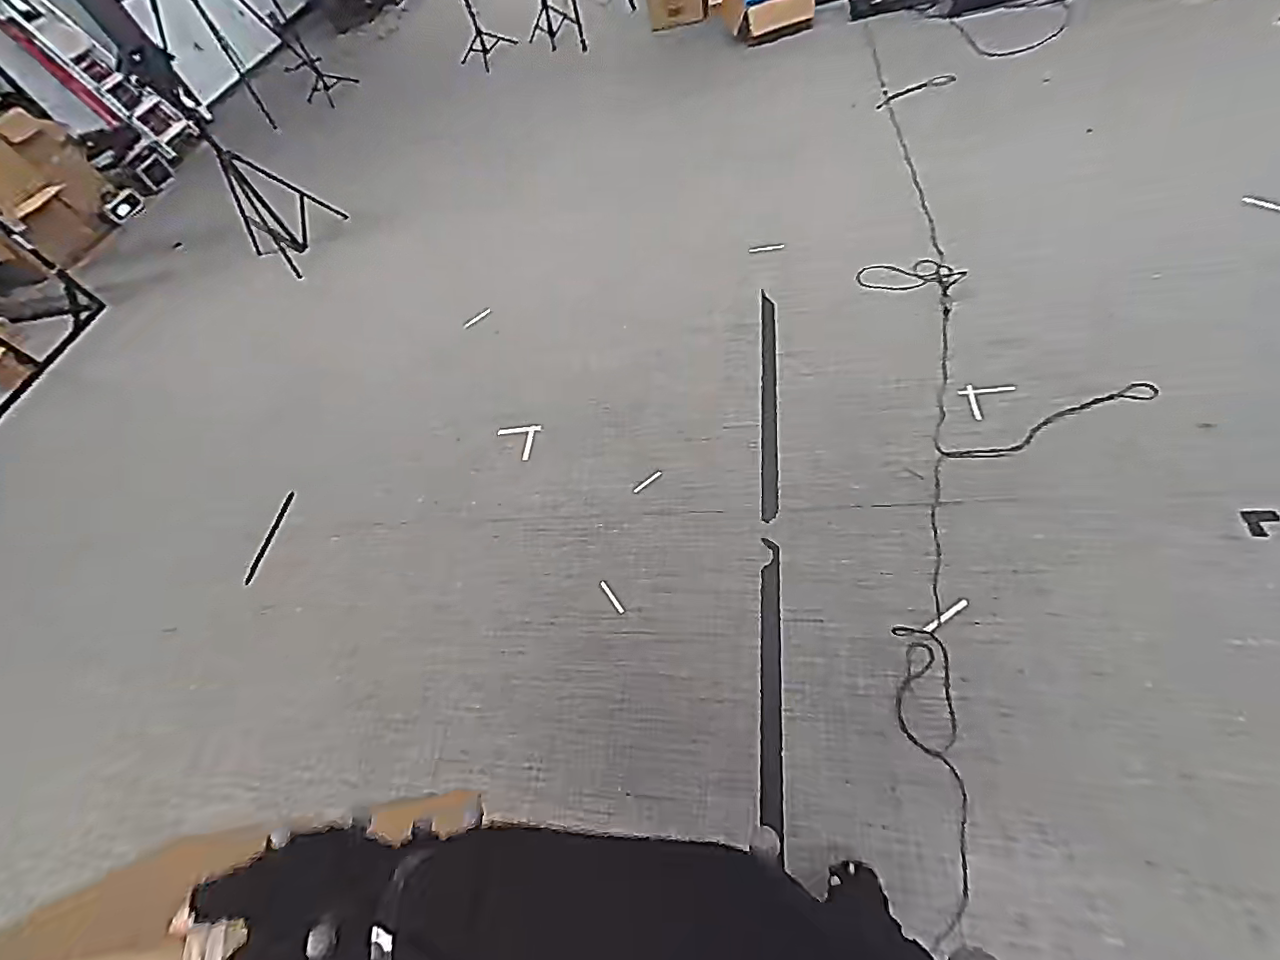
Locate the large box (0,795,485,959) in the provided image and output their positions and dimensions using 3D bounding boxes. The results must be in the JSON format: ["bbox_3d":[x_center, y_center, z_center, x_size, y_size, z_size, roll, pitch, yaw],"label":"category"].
[{"bbox_3d":[-0.281,0.525,0.425,0.320,0.320,0.408,-2,70,-18],"label":"large box"}]
